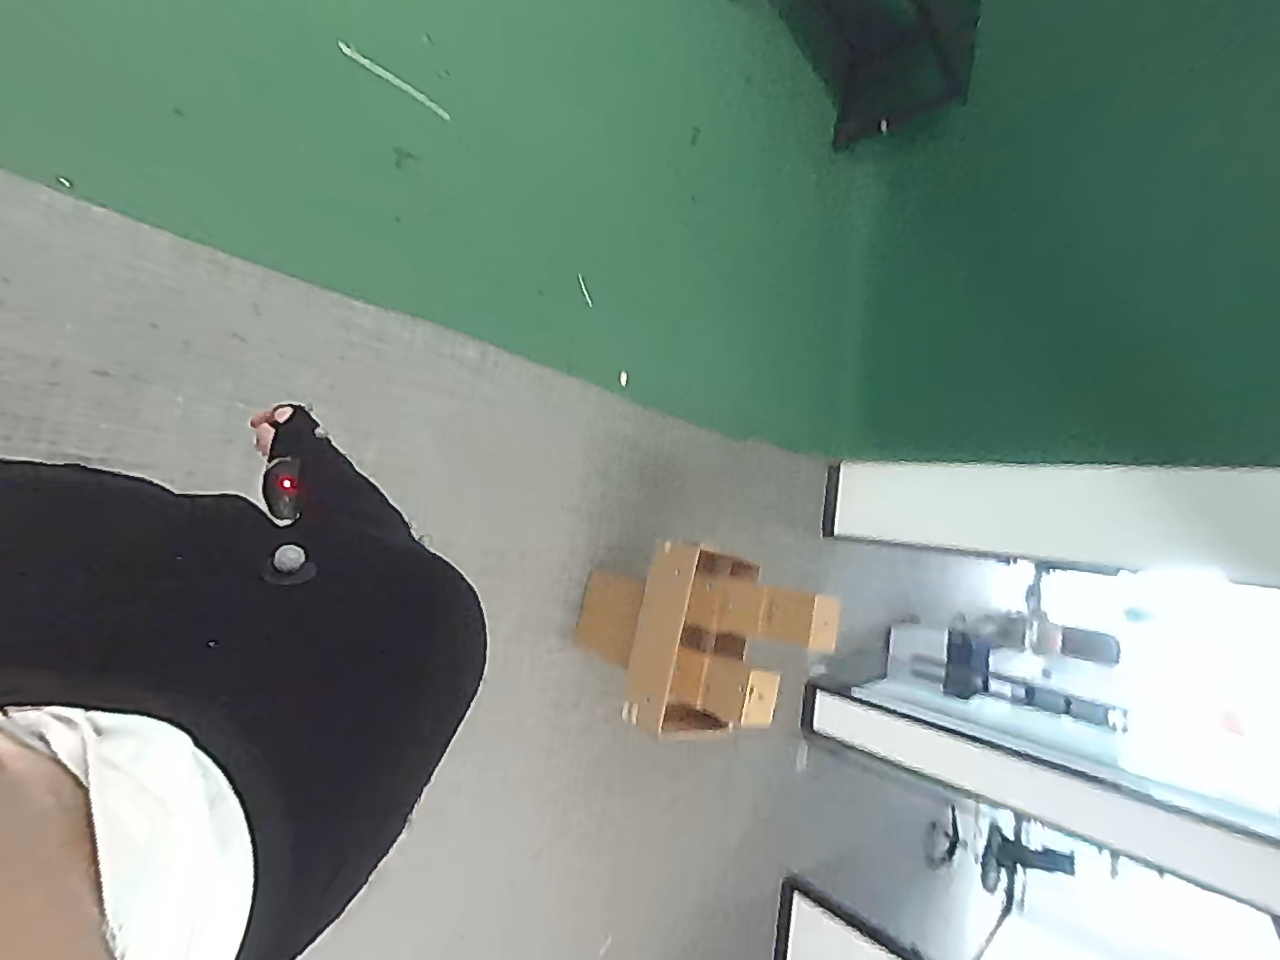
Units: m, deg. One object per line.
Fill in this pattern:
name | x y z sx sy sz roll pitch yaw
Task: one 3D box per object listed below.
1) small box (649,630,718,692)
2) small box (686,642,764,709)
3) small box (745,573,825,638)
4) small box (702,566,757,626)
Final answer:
small box | 0.160 0.636 1.905 0.179 0.176 0.168 21 79 -43
small box | 0.282 0.647 1.795 0.179 0.176 0.168 24 77 -43
small box | 0.461 0.398 1.718 0.179 0.176 0.168 19 79 -45
small box | 0.338 0.391 1.825 0.179 0.176 0.168 17 81 -45
